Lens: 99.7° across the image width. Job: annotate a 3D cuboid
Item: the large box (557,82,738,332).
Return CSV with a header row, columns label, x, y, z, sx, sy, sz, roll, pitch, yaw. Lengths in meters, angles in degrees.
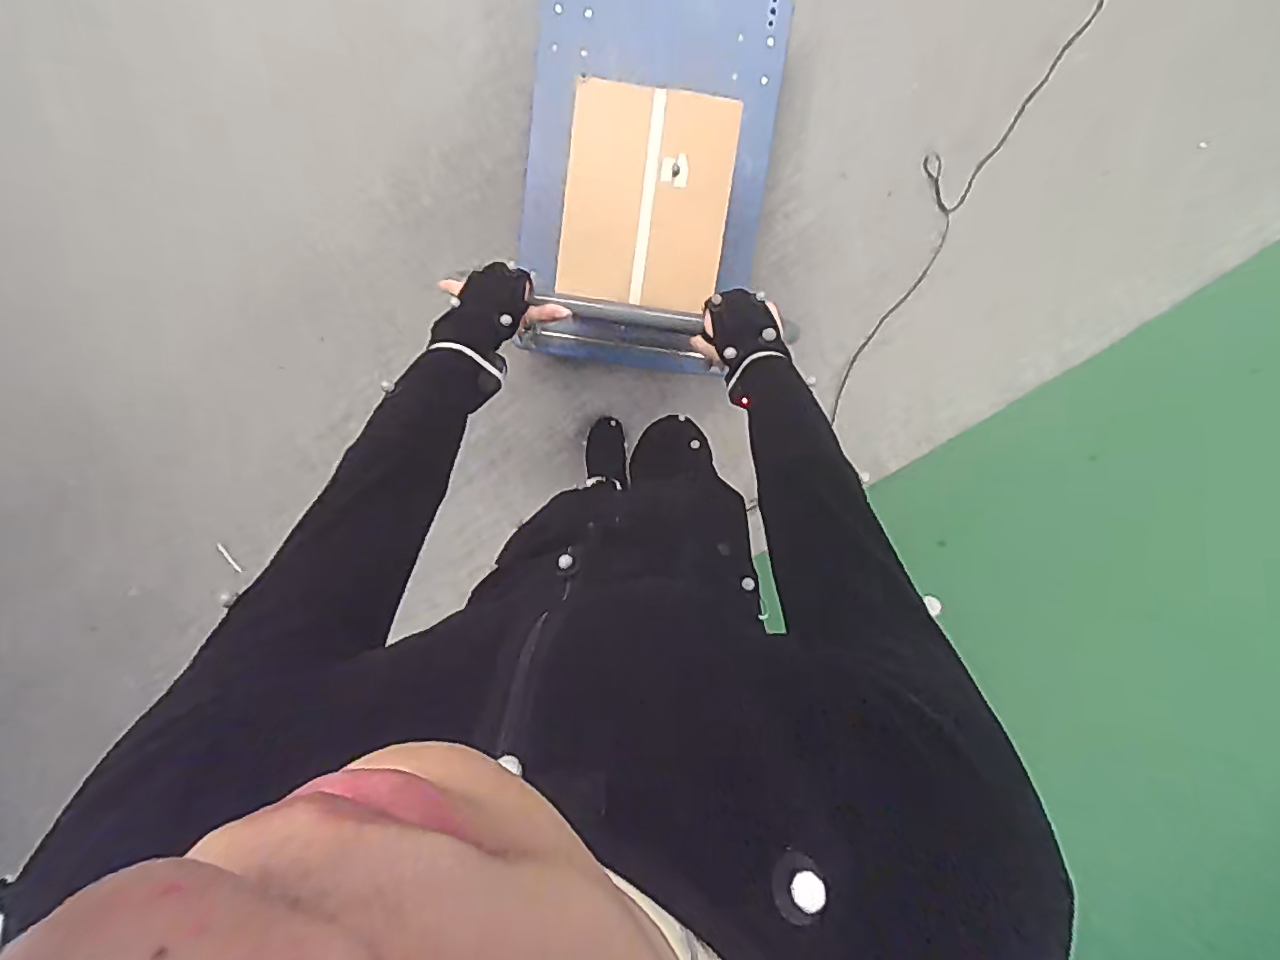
label,x,y,z,sx,sy,sz,roll,pitch,yaw
large box,0.012,-0.561,1.198,0.320,0.320,0.408,8,100,-2
